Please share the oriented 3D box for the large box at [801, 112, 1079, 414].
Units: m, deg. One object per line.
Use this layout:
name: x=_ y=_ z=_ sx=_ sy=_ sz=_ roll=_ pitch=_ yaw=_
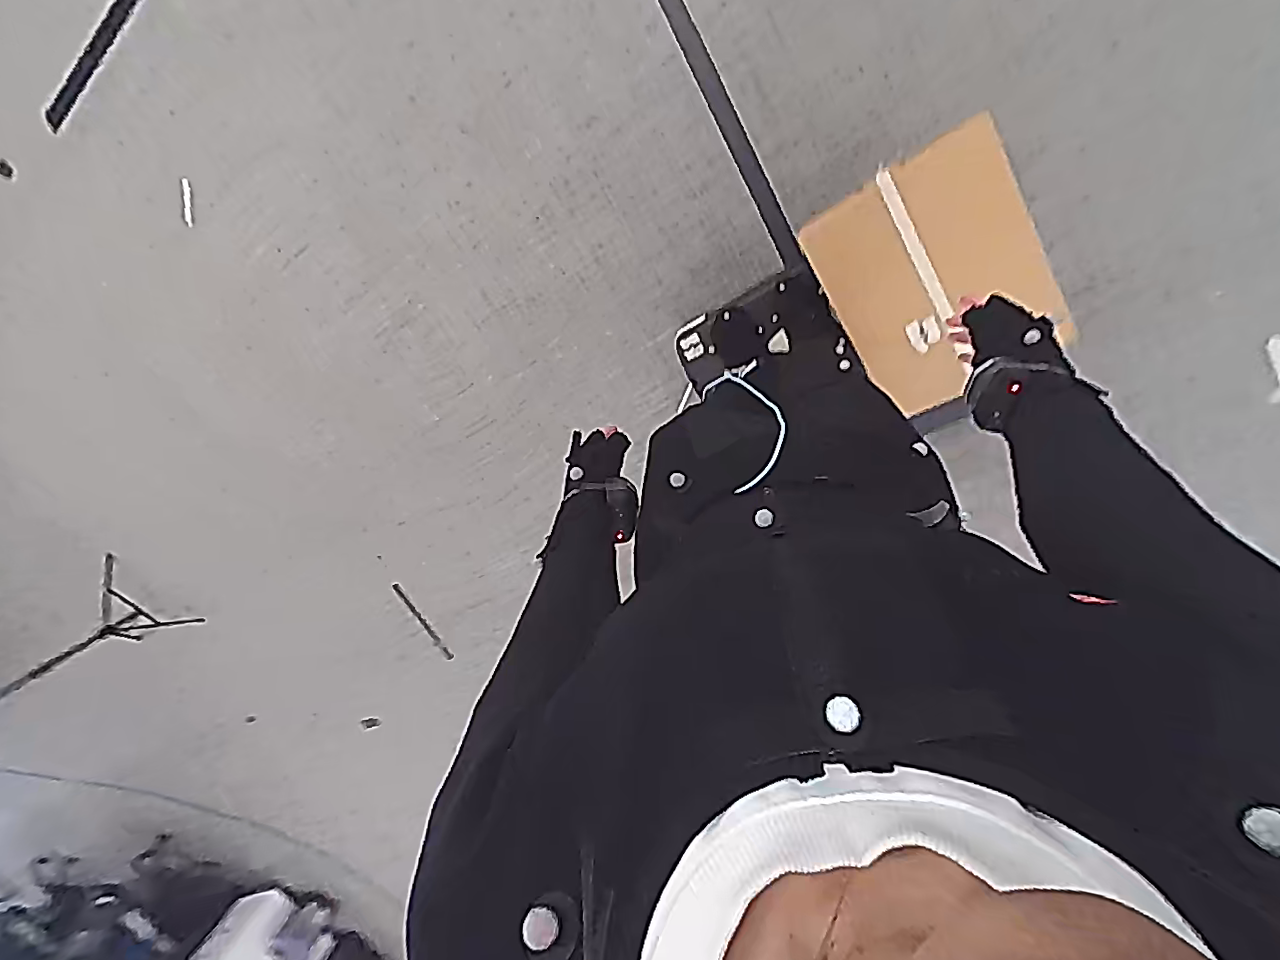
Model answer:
large box: x=0.550 y=-0.411 z=1.056 sx=0.320 sy=0.320 sz=0.408 roll=-26 pitch=107 yaw=30
